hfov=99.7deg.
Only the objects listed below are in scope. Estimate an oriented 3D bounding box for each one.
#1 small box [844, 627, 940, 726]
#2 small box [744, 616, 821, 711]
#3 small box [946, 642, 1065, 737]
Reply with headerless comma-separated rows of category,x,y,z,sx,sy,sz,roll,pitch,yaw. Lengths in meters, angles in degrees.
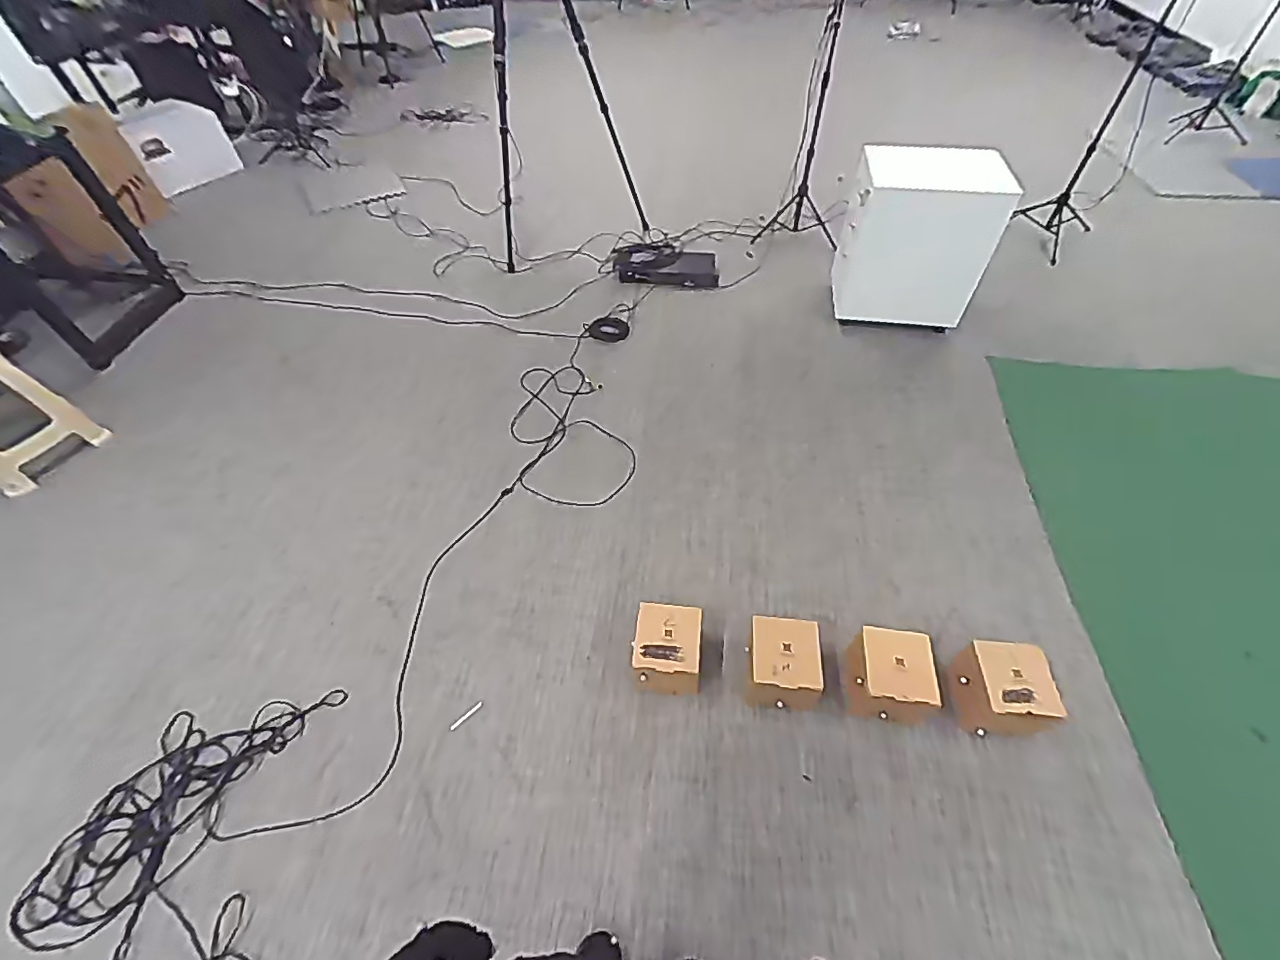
small box,0.625,0.499,1.367,0.168,0.176,0.179,7,52,6
small box,0.360,0.473,1.391,0.168,0.176,0.179,4,52,6
small box,0.892,0.523,1.339,0.168,0.176,0.179,4,51,4
